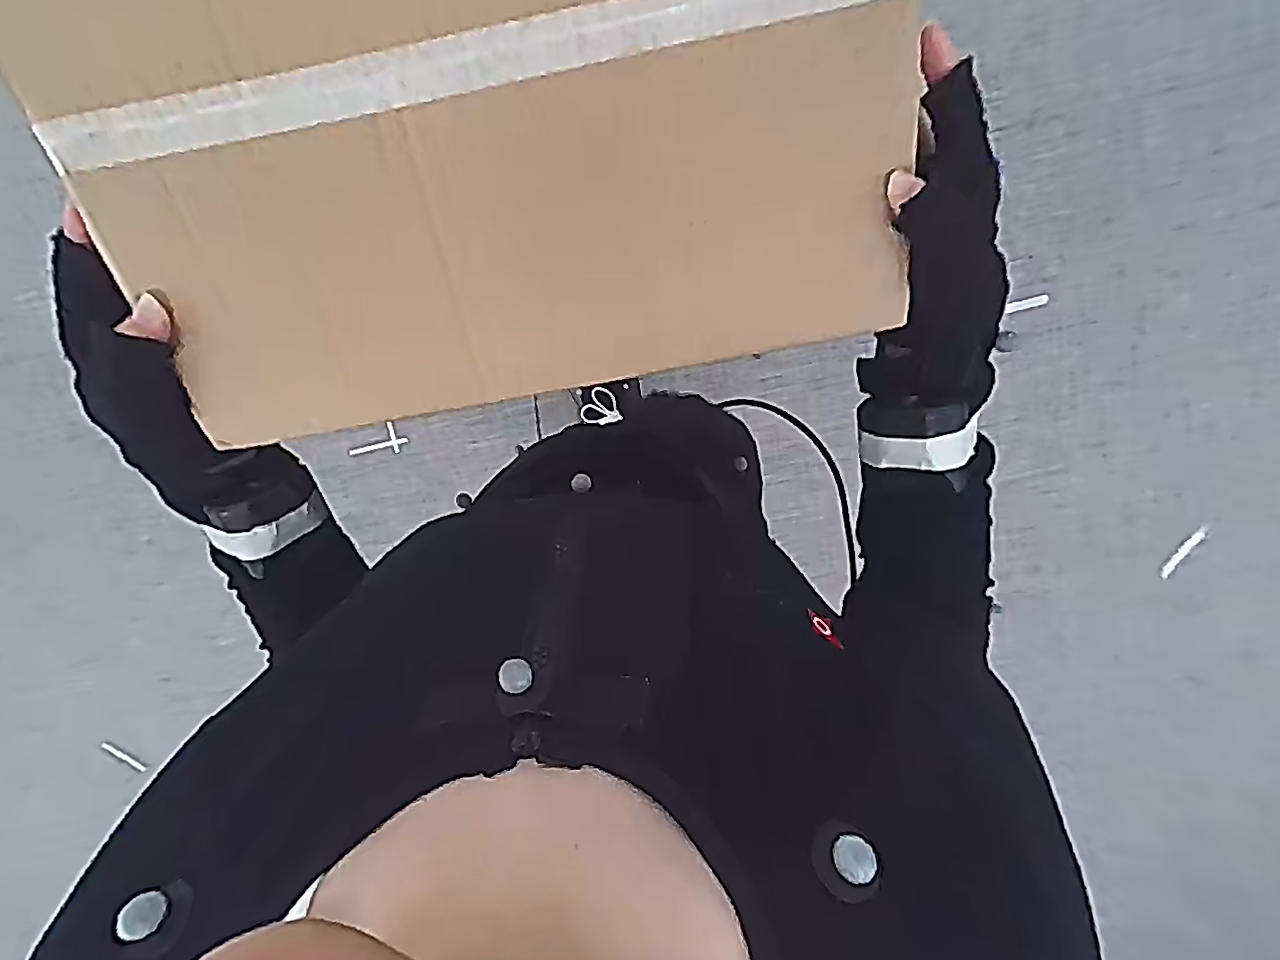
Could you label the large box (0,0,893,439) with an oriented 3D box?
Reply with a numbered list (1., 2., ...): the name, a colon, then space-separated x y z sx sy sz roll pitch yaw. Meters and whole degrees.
1. large box: -0.083 -0.260 0.388 0.408 0.320 0.320 -10 115 3
